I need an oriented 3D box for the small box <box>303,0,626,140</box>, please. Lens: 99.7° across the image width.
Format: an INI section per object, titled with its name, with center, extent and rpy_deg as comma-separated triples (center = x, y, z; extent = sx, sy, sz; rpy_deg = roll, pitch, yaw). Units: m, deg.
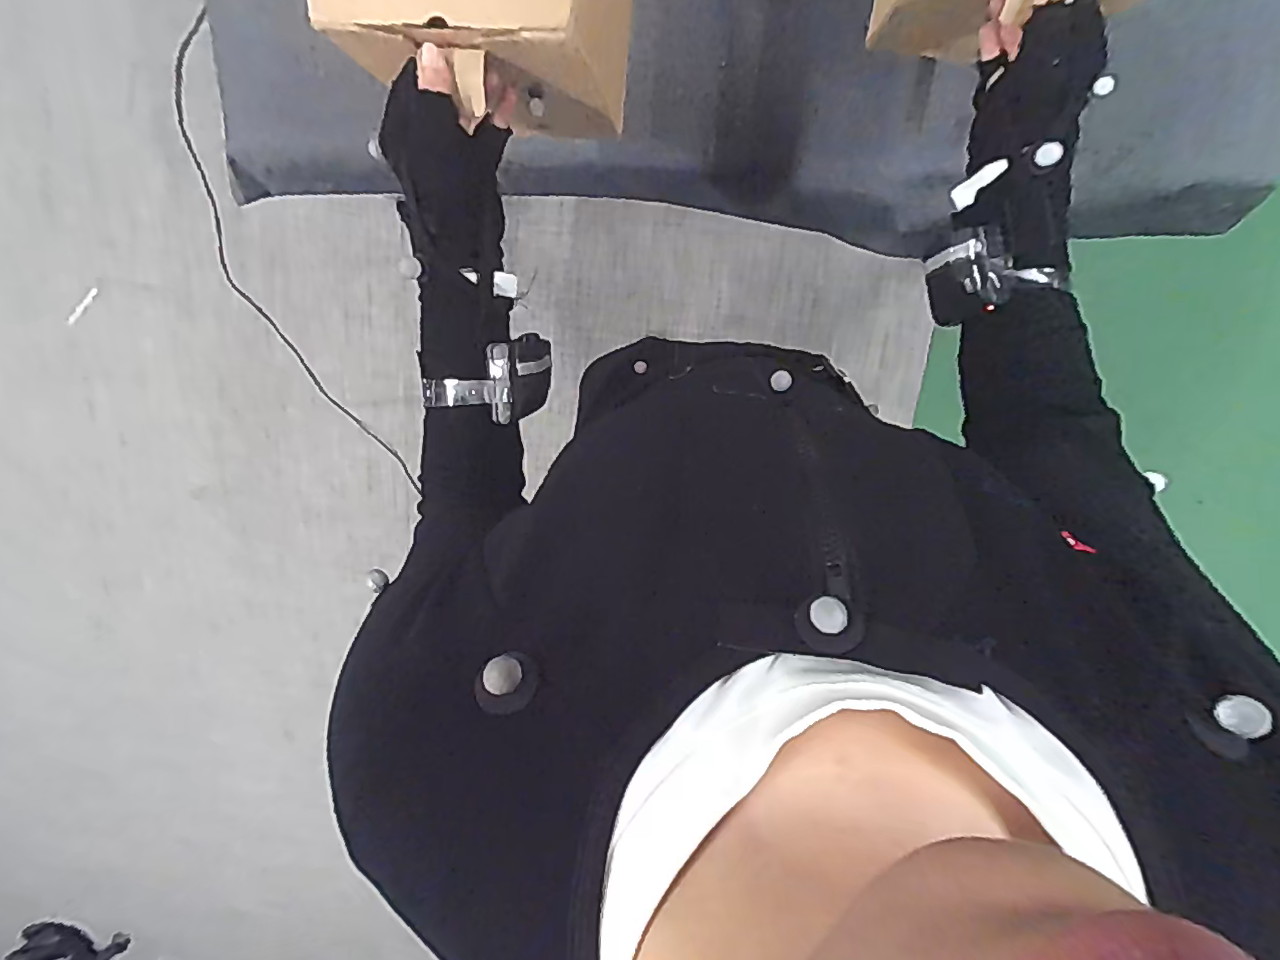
[small box]
center = -0.102, -0.360, 0.372
extent = 0.168, 0.176, 0.179
rpy_deg = 6, 103, 6
